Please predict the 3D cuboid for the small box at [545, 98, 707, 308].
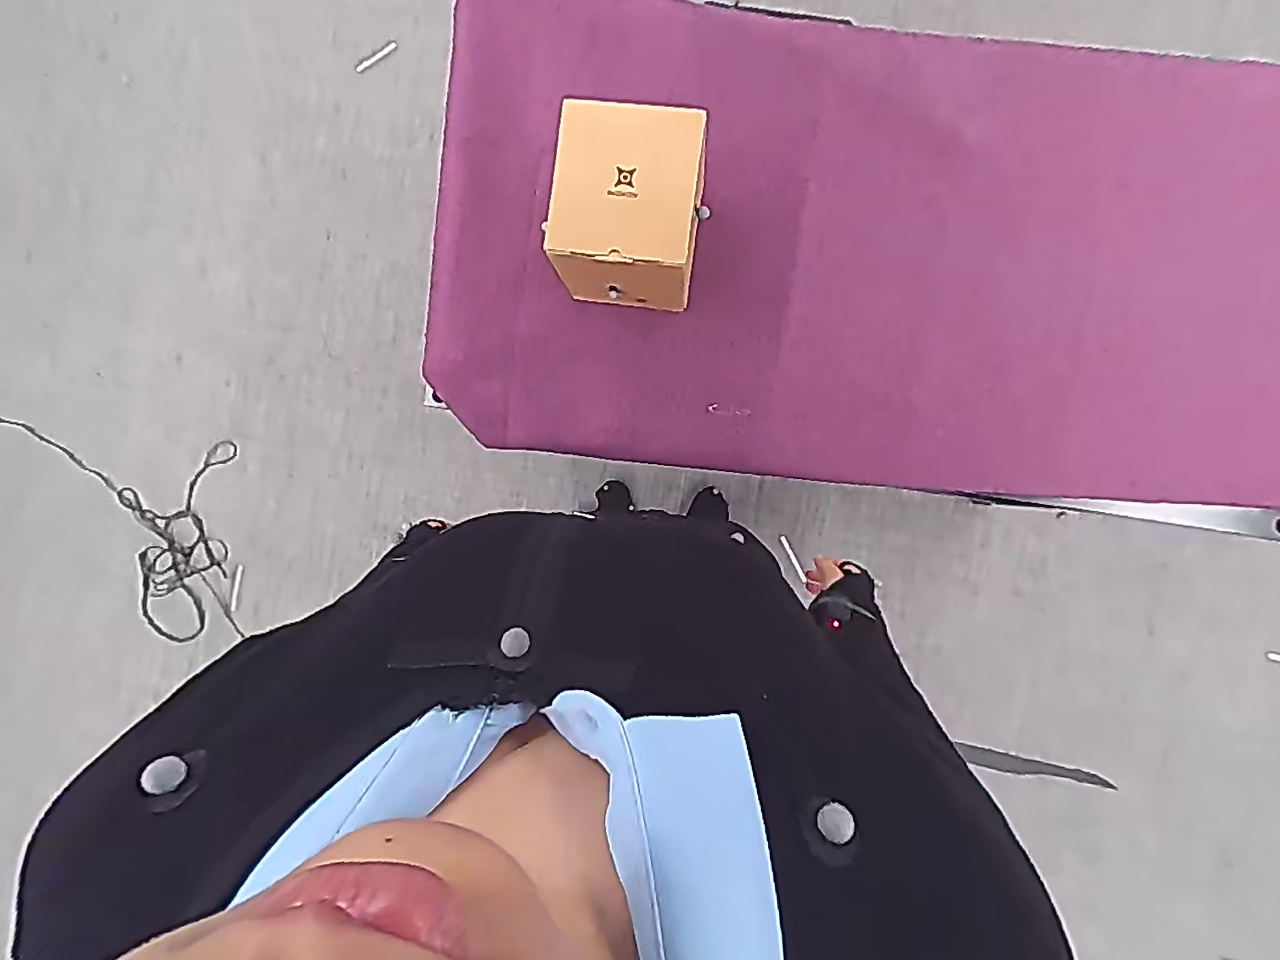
[{"bbox_3d":[-0.012,-0.338,0.688,0.168,0.176,0.179,8,92,4],"label":"small box"}]
